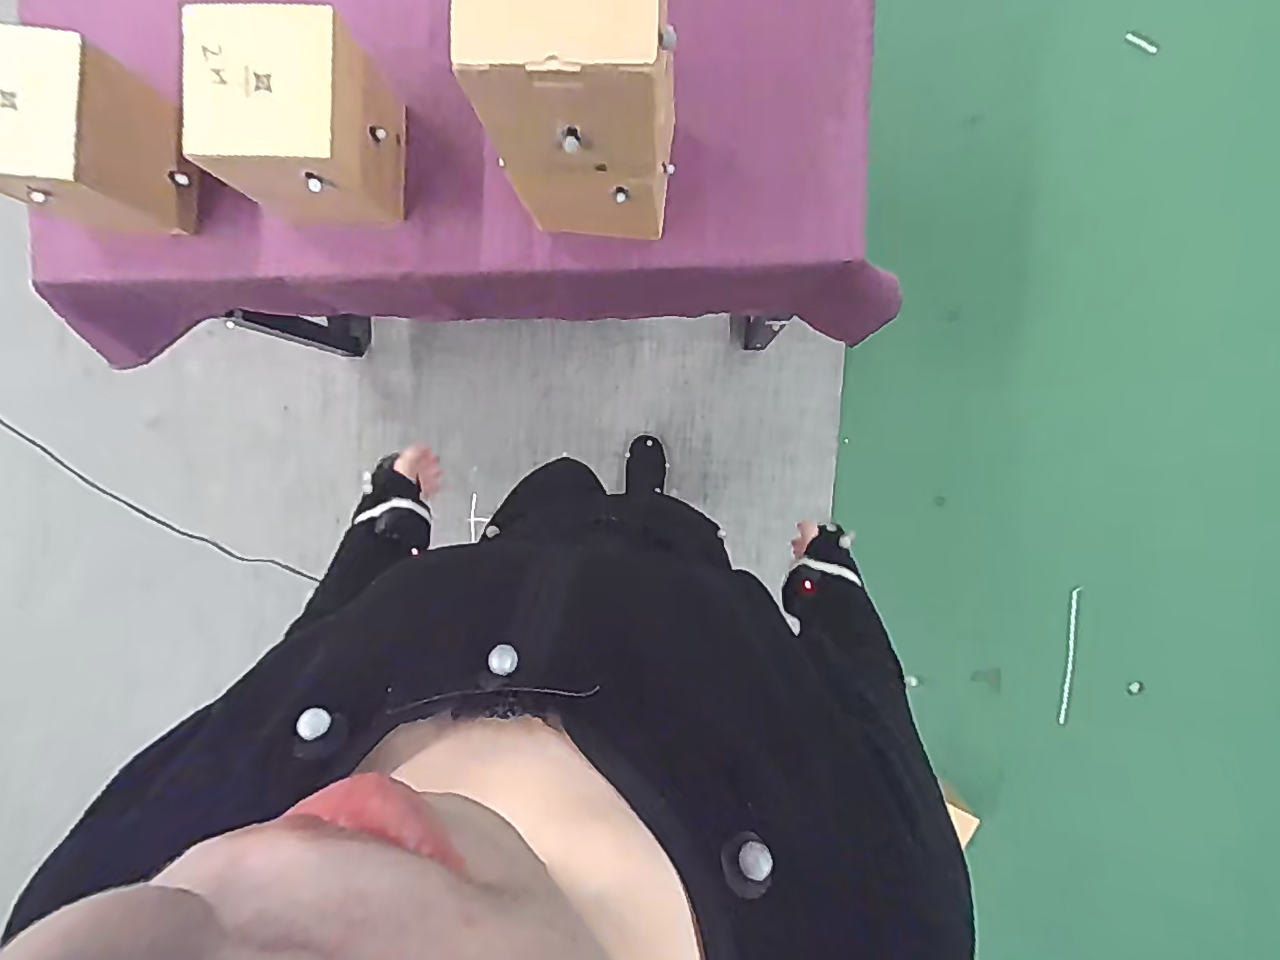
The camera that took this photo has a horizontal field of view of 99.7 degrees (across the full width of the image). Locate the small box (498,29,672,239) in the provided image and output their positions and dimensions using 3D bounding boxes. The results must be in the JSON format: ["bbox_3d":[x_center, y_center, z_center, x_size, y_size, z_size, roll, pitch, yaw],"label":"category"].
[{"bbox_3d":[-0.057,-0.417,0.668,0.179,0.176,0.168,7,93,2],"label":"small box"}]

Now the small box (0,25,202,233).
[{"bbox_3d":[-0.721,-0.441,0.701,0.179,0.176,0.168,8,94,2],"label":"small box"}]

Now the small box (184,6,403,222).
[{"bbox_3d":[-0.421,-0.445,0.684,0.179,0.176,0.168,3,92,3],"label":"small box"}]

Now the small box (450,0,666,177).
[{"bbox_3d":[-0.063,-0.409,0.504,0.168,0.176,0.179,3,93,2],"label":"small box"}]
